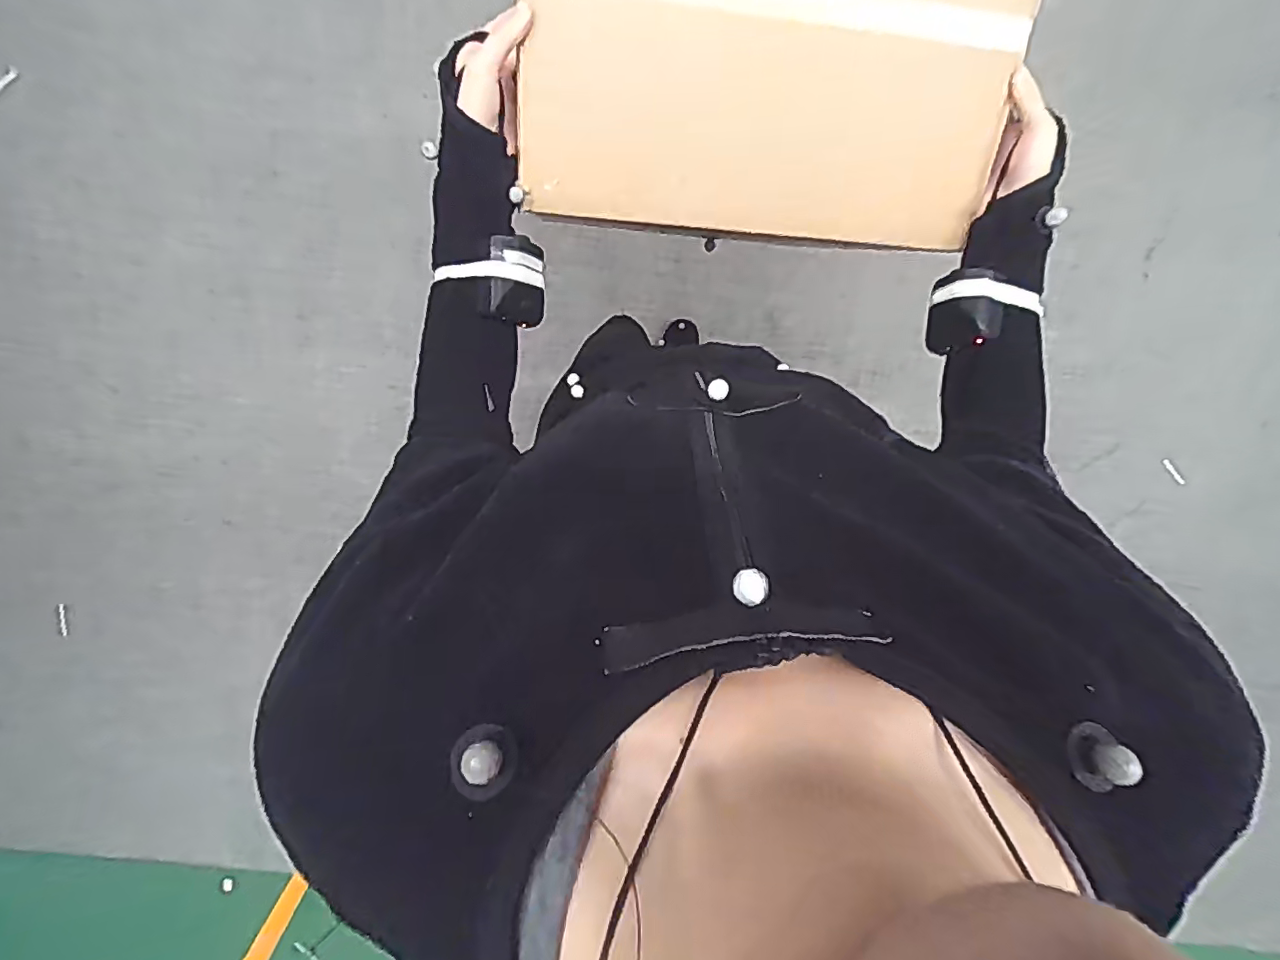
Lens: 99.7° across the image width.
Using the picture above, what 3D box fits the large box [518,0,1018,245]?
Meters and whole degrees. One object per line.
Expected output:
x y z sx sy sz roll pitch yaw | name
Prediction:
0.093 -0.425 0.561 0.408 0.320 0.320 2 112 -7 | large box
